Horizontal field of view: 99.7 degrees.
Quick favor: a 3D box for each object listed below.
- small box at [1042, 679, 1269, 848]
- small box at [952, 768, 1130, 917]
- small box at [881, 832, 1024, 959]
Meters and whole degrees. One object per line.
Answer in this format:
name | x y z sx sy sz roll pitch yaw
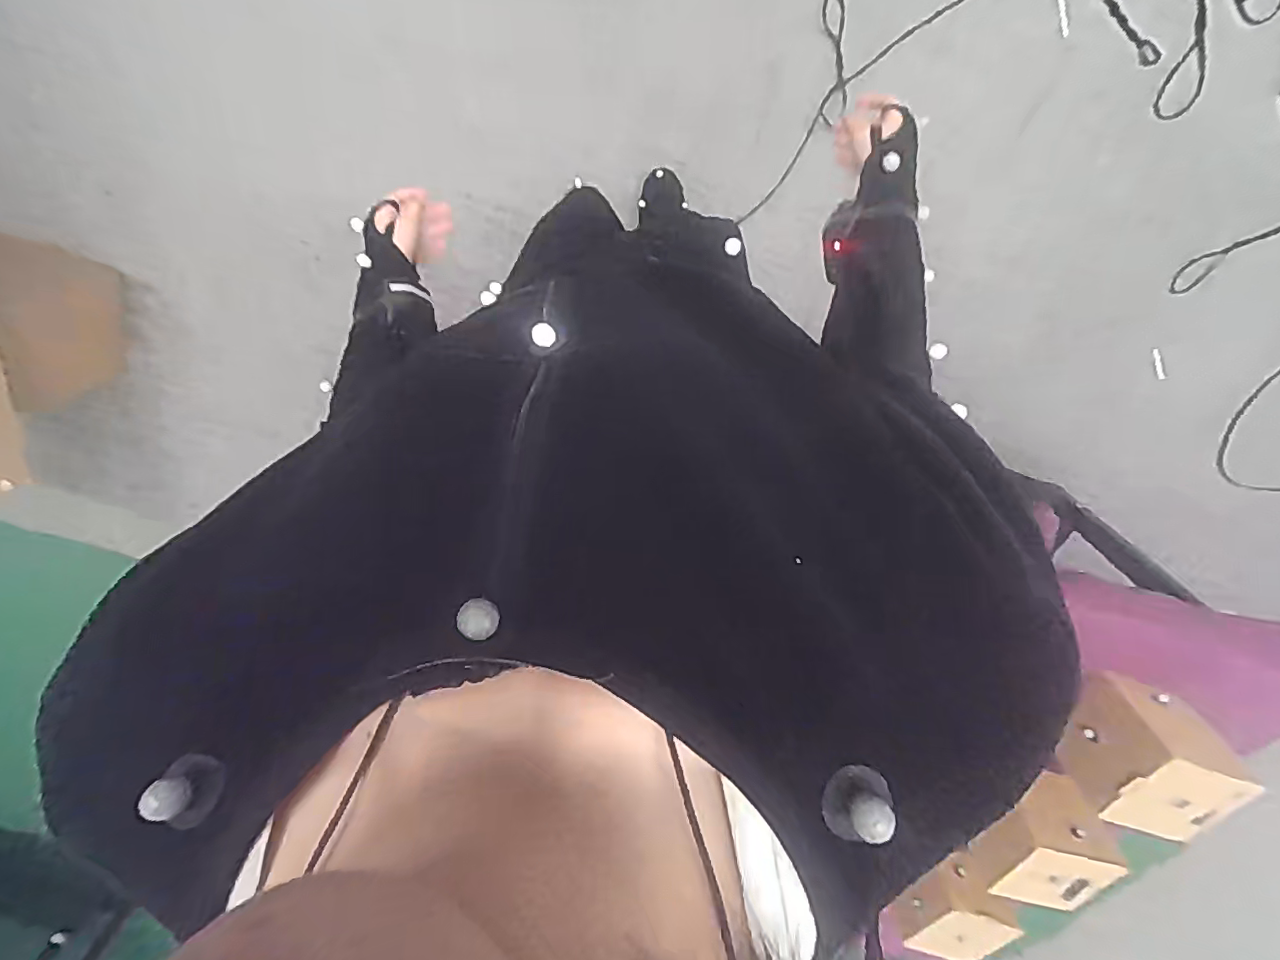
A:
small box | 0.833 0.462 0.900 0.179 0.176 0.168 20 119 -6
small box | 0.743 0.681 1.026 0.179 0.176 0.168 16 118 -4
small box | 0.646 0.889 1.148 0.168 0.176 0.179 22 118 -7
